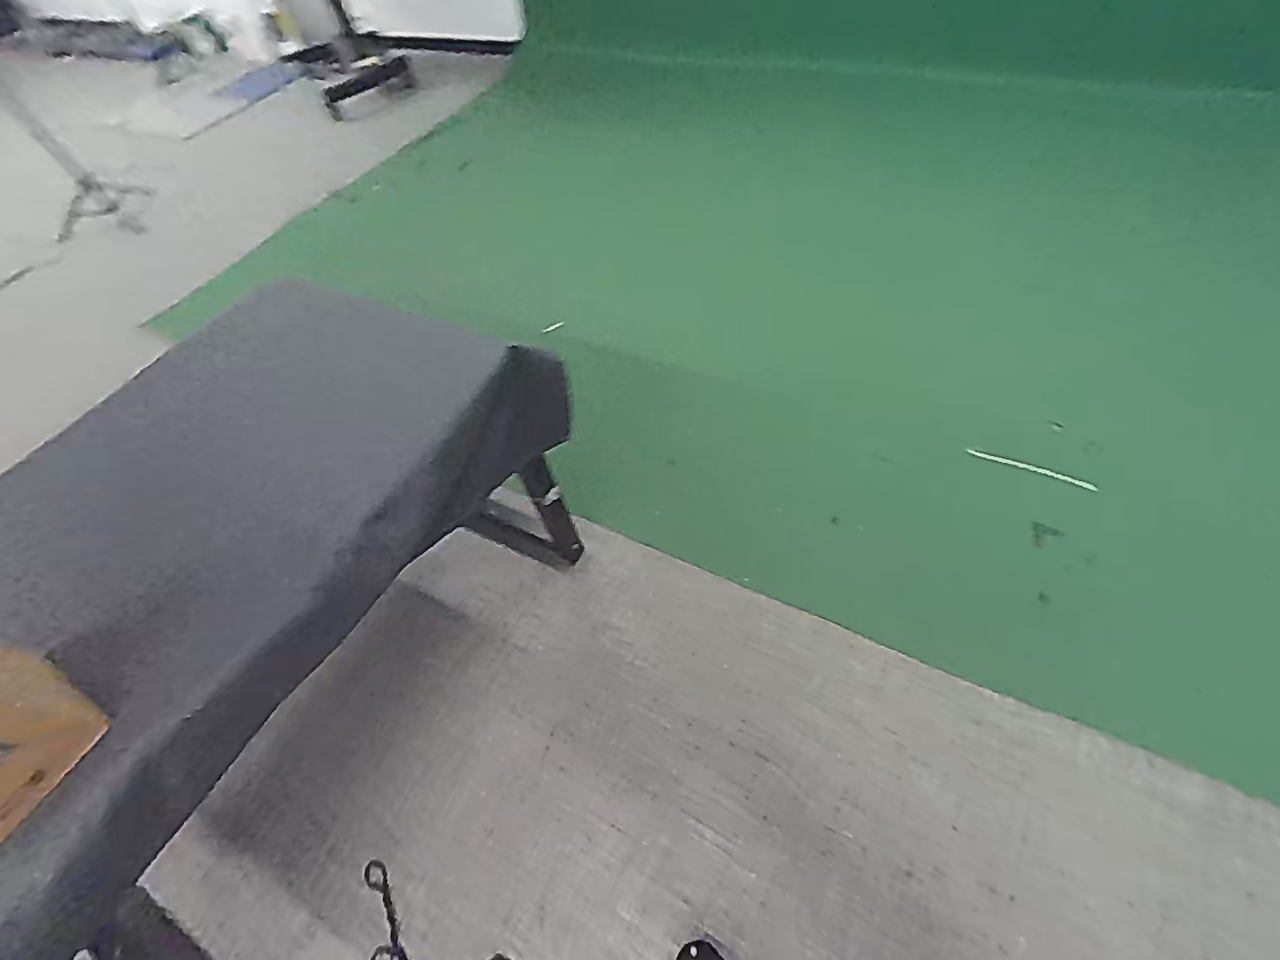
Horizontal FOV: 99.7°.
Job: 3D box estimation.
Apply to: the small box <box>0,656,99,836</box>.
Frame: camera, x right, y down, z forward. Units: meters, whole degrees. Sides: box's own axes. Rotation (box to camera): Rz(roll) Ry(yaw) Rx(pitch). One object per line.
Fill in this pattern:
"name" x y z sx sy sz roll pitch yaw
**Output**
"small box" -0.710 0.267 0.529 0.179 0.176 0.168 20 59 21
